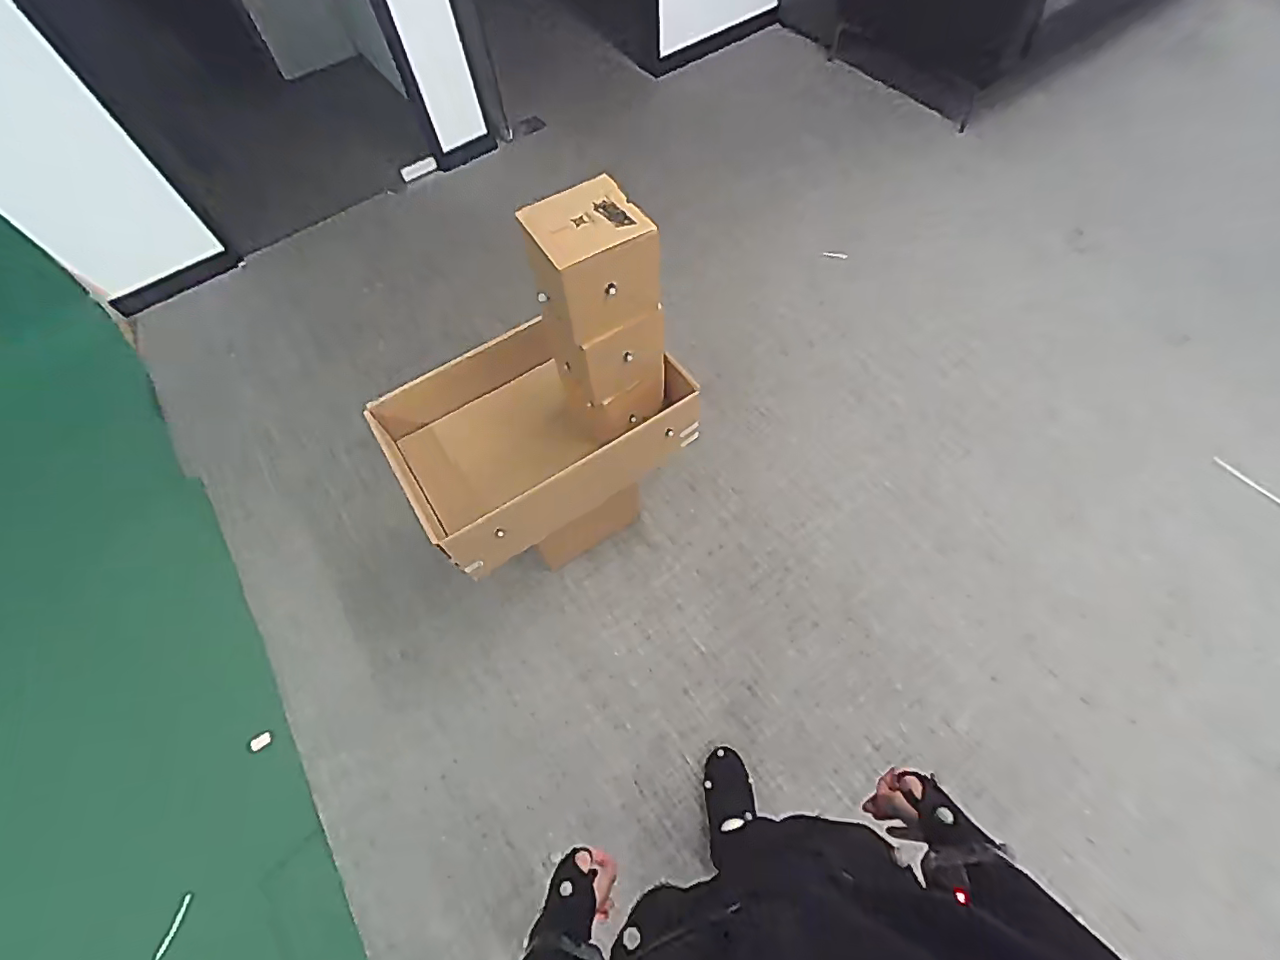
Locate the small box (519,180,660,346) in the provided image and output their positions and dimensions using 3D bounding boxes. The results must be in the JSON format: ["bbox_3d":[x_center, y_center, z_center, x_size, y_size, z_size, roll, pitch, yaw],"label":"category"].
[{"bbox_3d":[-0.080,-0.365,0.927,0.179,0.176,0.168,-28,64,-11],"label":"small box"}]
